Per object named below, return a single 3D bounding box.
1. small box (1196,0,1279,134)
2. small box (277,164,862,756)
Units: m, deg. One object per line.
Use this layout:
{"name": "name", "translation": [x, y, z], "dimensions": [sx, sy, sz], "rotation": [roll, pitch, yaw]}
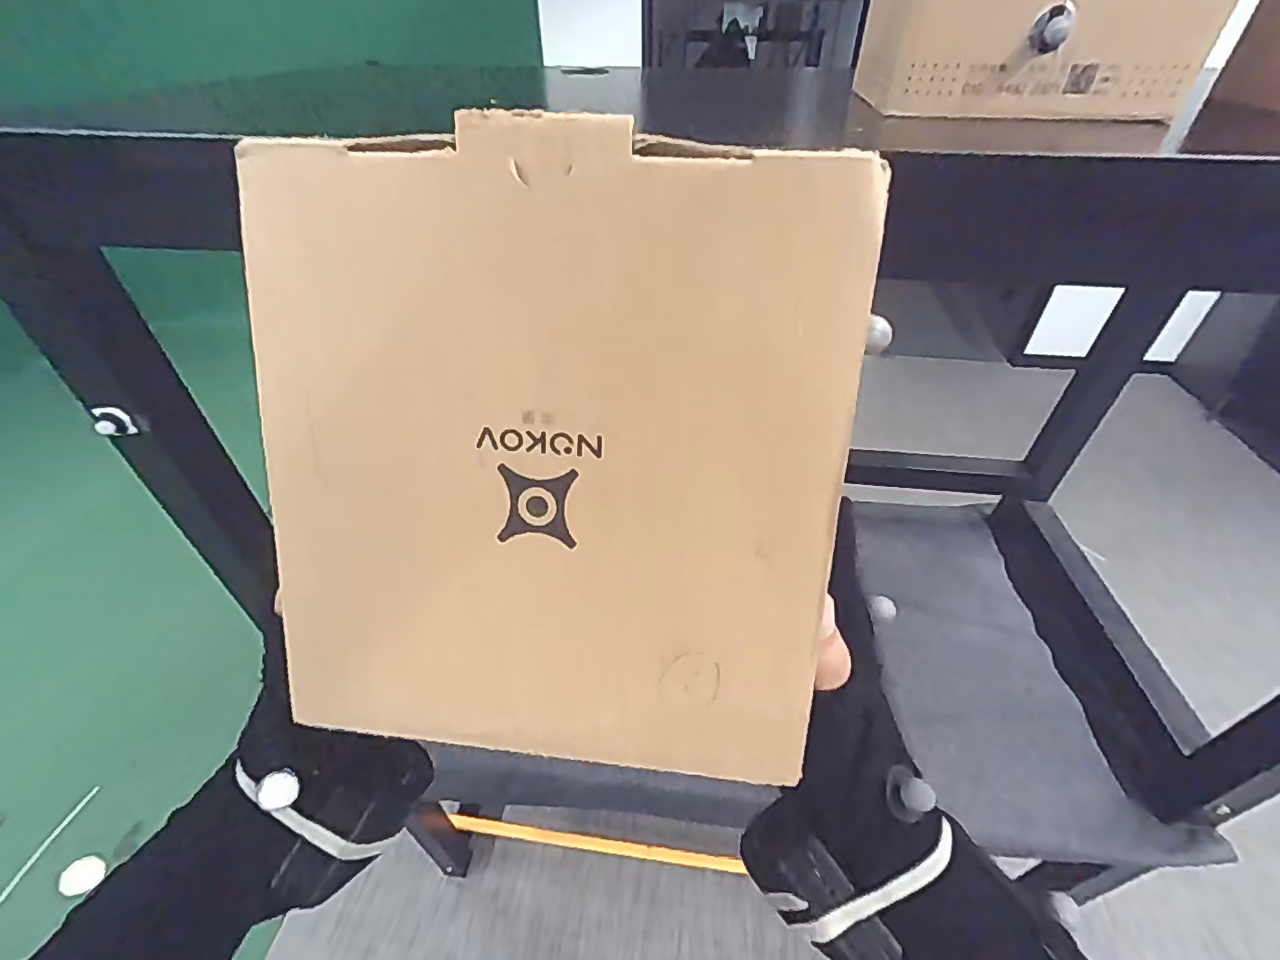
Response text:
{"name": "small box", "translation": [0.488, -0.291, 0.302], "dimensions": [0.168, 0.176, 0.179], "rotation": [13, 41, 14]}
{"name": "small box", "translation": [-0.019, -0.017, 0.243], "dimensions": [0.168, 0.179, 0.176], "rotation": [5, 13, 5]}
